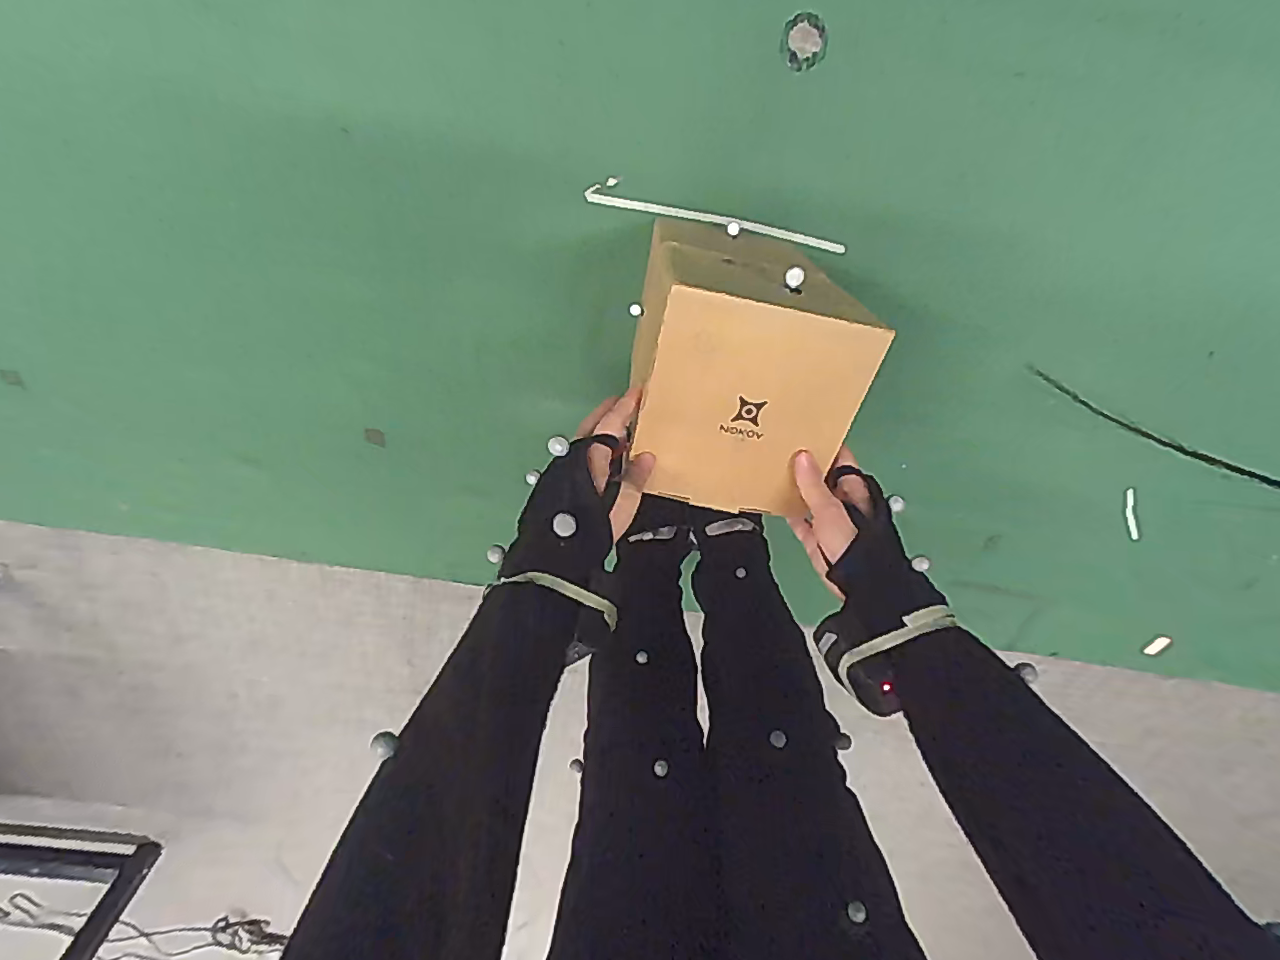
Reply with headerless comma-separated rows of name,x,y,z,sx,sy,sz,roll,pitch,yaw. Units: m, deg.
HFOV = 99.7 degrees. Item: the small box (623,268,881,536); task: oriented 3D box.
small box,0.079,-0.077,0.491,0.168,0.176,0.179,9,123,-6
